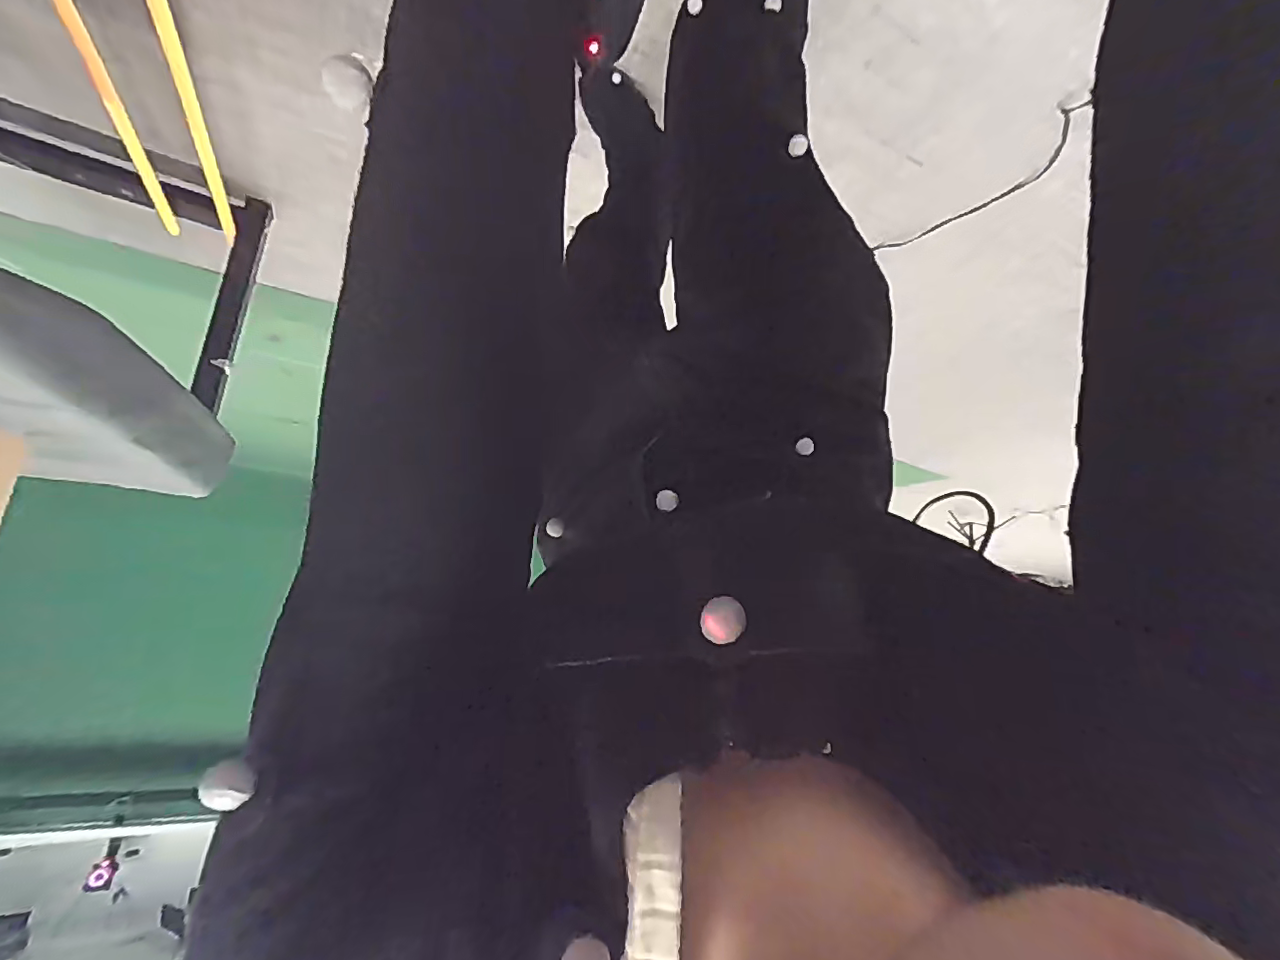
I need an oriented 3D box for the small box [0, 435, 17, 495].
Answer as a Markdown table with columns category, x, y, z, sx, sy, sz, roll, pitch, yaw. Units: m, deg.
| category | x | y | z | sx | sy | sz | roll | pitch | yaw |
| --- | --- | --- | --- | --- | --- | --- | --- | --- | --- |
| small box | -0.985 | -0.008 | 0.699 | 0.168 | 0.176 | 0.179 | 13 | 164 | -26 |
